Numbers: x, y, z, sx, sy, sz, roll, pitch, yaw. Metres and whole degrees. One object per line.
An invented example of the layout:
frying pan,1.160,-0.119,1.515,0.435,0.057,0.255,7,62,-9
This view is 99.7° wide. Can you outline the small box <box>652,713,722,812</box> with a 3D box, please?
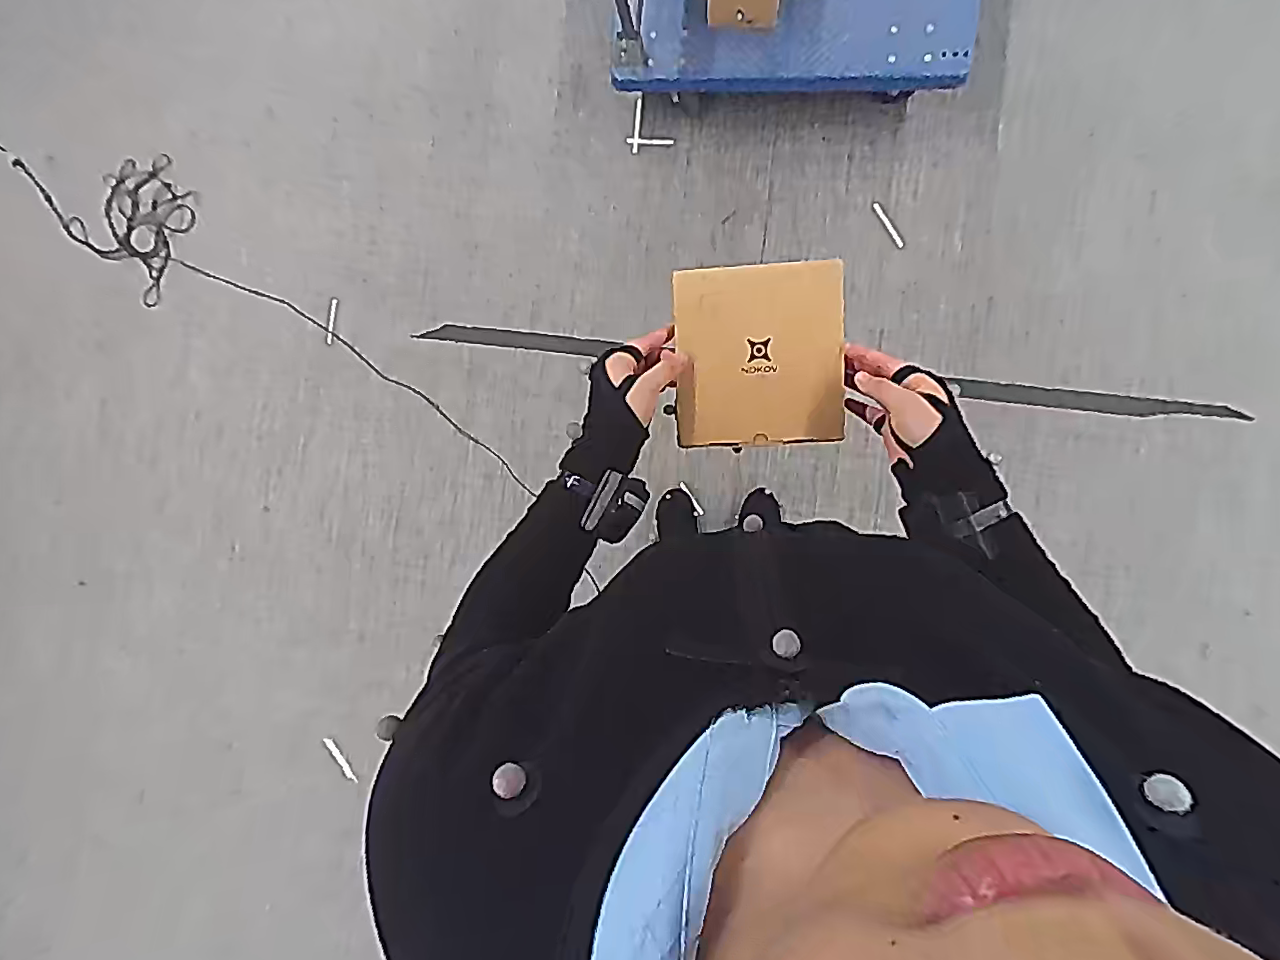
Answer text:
small box,0.127,0.734,1.415,0.168,0.176,0.179,-5,88,6
